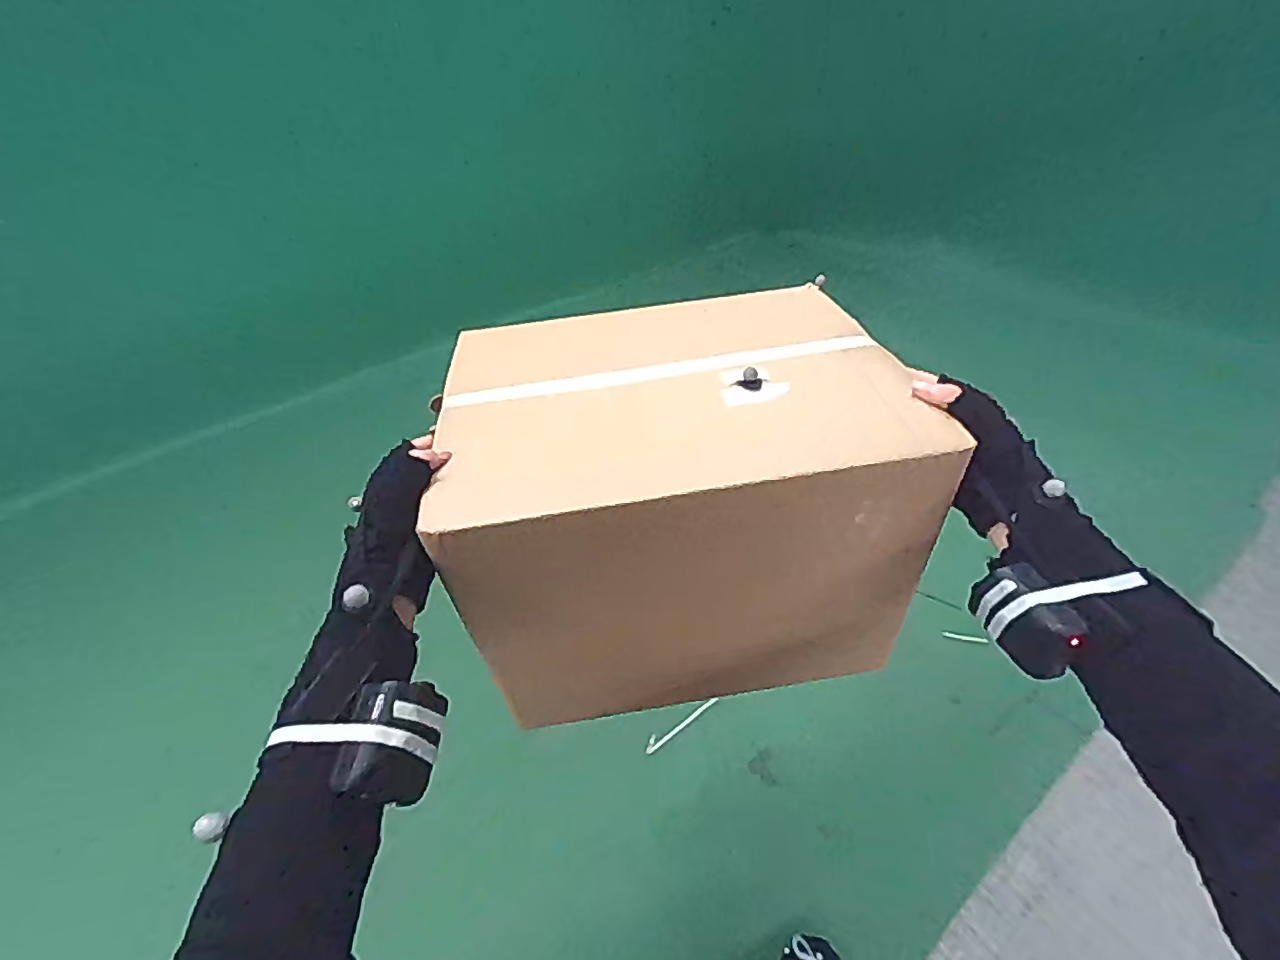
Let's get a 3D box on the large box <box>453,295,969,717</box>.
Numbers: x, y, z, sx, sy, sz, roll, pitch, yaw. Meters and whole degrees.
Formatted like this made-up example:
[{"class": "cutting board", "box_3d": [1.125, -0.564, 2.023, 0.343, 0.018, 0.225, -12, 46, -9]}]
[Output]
[{"class": "large box", "box_3d": [0.047, 0.021, 0.607, 0.408, 0.320, 0.320, -8, 42, -3]}]
